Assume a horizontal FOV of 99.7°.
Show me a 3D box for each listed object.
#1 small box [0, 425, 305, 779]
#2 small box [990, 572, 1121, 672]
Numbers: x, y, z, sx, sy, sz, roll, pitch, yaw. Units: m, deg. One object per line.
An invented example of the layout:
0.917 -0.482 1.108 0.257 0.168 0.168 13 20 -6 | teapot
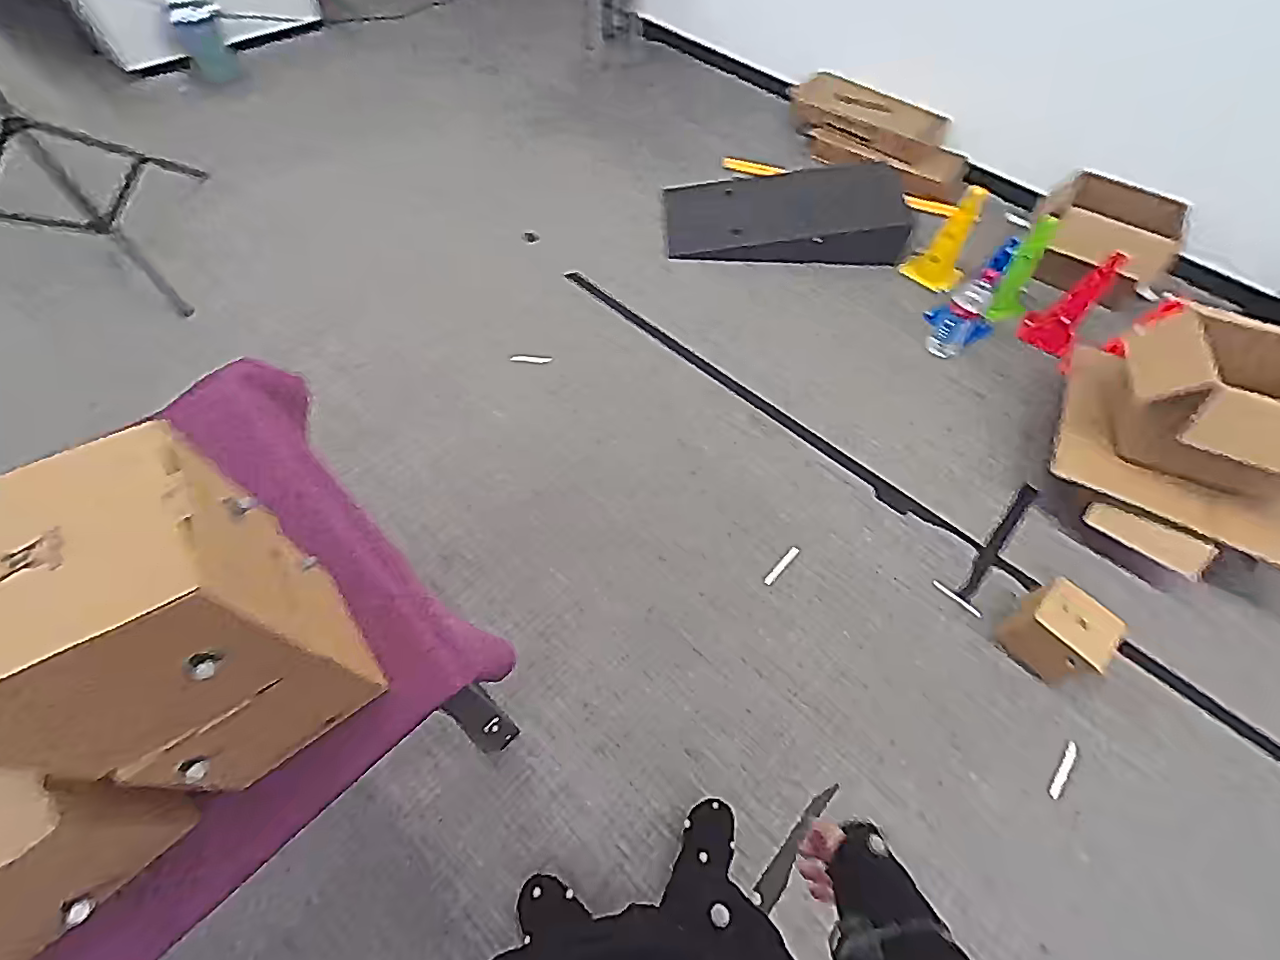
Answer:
-0.390 0.096 0.411 0.179 0.176 0.168 -30 63 -18 | small box
1.064 0.374 1.397 0.168 0.176 0.179 -37 69 -24 | small box
